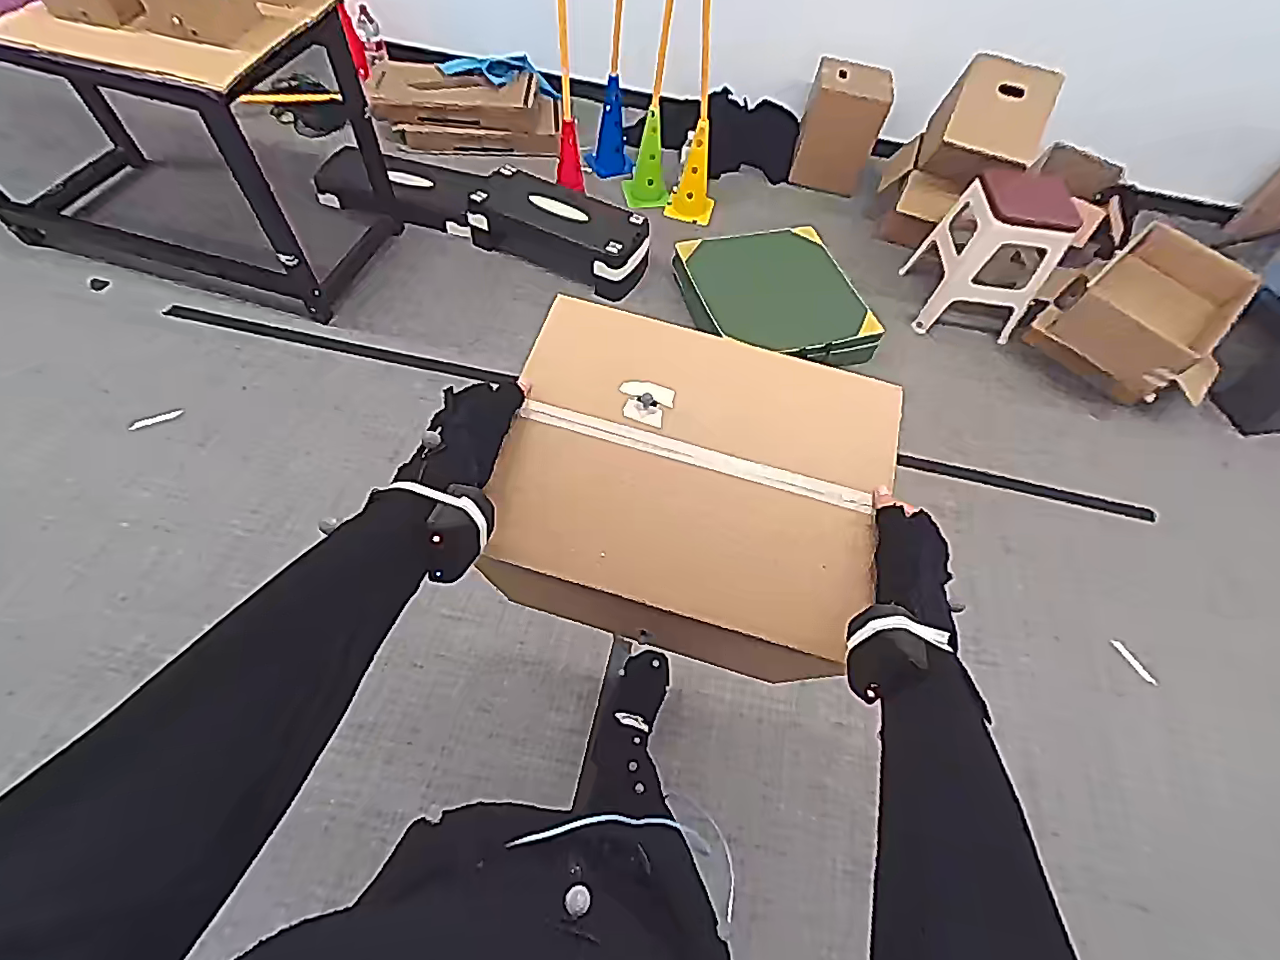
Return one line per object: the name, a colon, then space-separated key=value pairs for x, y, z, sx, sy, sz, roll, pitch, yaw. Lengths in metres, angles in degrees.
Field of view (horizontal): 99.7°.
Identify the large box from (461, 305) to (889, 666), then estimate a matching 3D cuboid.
large box: x=0.051 y=0.032 z=0.709 sx=0.408 sy=0.320 sz=0.320 roll=16 pitch=67 yaw=5
